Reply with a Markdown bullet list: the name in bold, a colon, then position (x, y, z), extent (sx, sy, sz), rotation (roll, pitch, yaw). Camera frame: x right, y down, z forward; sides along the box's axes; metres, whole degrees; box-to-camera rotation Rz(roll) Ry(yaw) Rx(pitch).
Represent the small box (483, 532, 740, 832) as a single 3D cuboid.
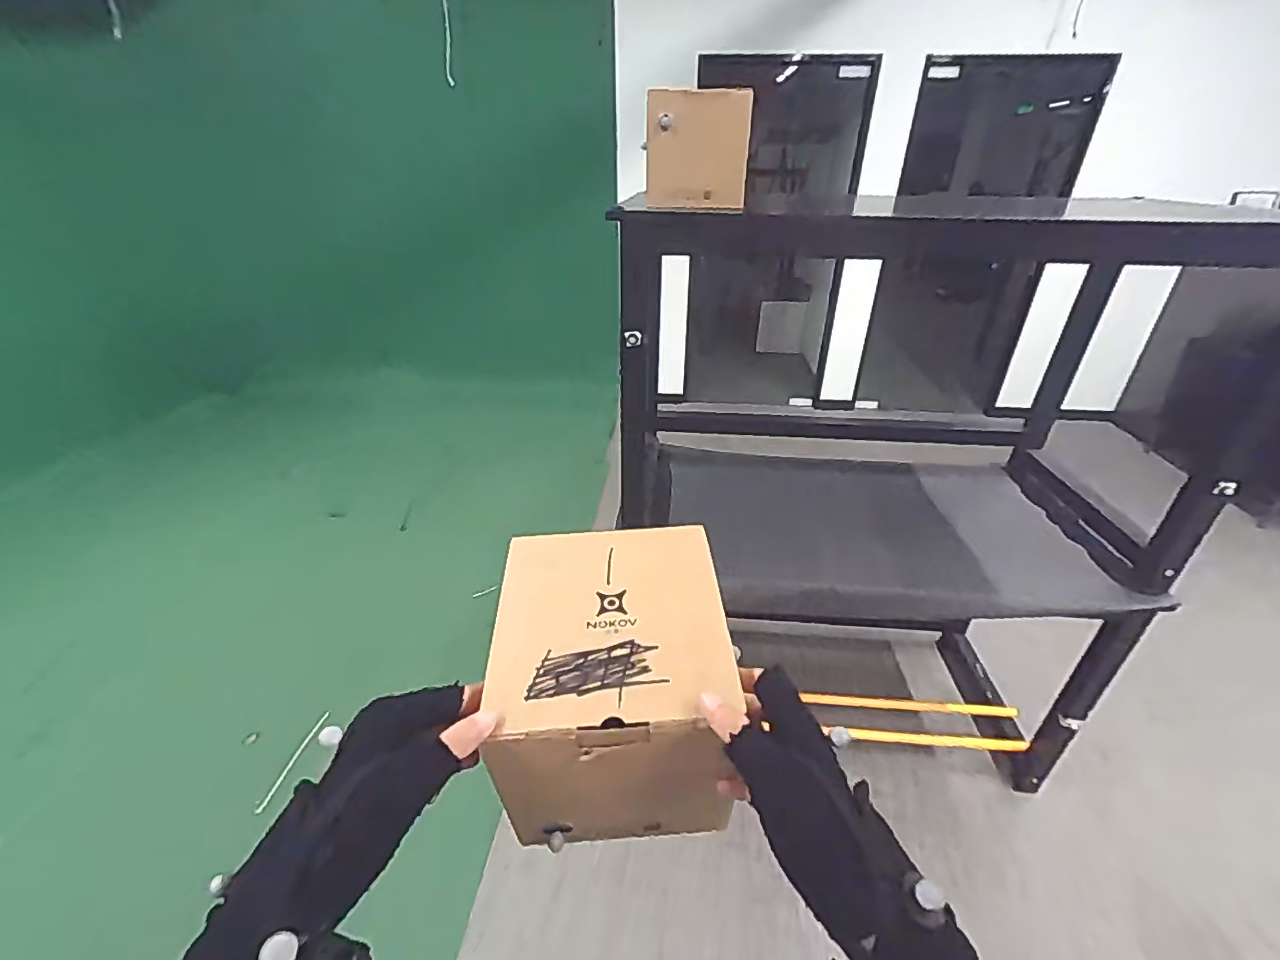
- **small box**: position (-0.017, 0.166, 0.448), extent (0.168, 0.176, 0.179), rotation (-4, 36, -1)
